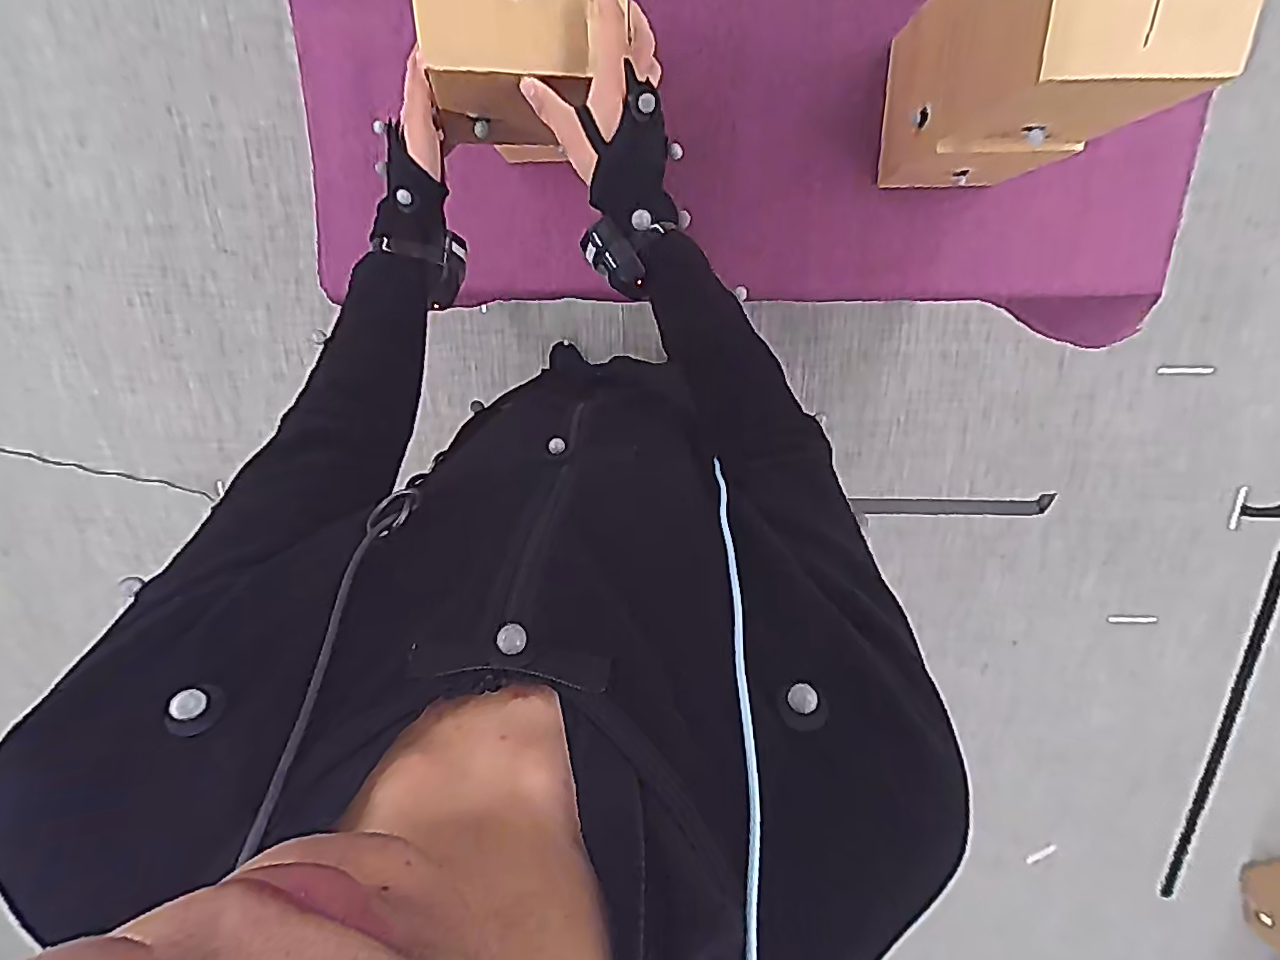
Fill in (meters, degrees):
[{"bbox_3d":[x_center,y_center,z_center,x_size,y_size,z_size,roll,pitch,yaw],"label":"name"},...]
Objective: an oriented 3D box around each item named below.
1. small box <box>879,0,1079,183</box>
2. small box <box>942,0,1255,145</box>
[{"bbox_3d":[0.413,-0.476,0.661,0.168,0.176,0.179,0,107,1],"label":"small box"},{"bbox_3d":[0.411,-0.437,0.501,0.168,0.176,0.179,1,107,1],"label":"small box"}]
